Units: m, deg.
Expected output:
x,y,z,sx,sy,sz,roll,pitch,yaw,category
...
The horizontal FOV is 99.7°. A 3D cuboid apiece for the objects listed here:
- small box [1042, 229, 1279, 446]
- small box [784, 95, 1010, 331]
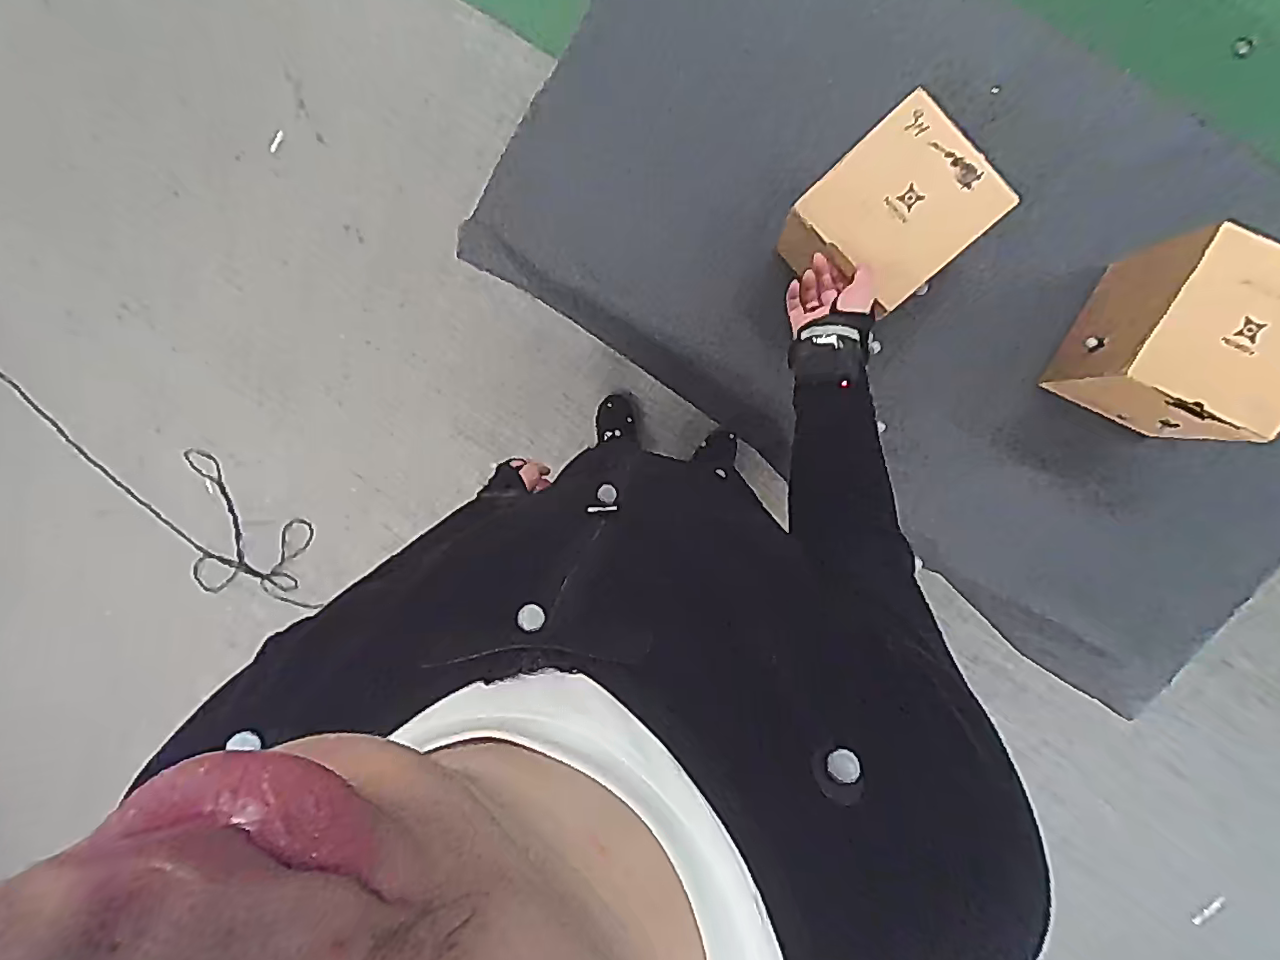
x,y,z,sx,sy,sz,roll,pitch,yaw,category
0.635,-0.157,0.646,0.168,0.176,0.179,27,99,3,small box
0.297,-0.309,0.676,0.179,0.176,0.168,-41,90,11,small box
